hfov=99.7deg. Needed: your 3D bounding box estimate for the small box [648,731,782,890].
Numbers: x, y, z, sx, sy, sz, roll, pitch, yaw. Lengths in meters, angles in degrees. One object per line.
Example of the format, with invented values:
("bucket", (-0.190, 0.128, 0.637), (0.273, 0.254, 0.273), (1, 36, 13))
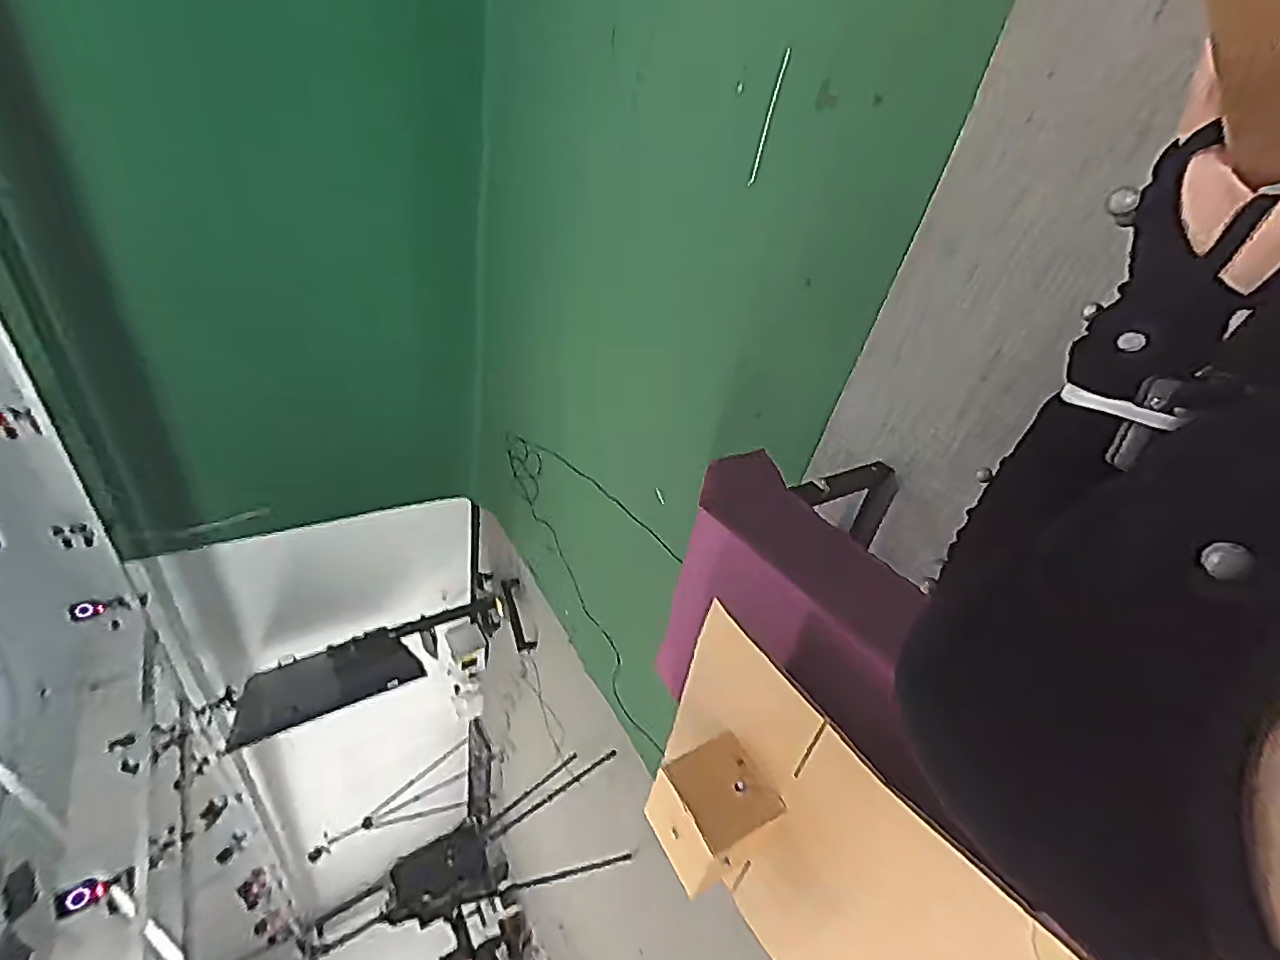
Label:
("small box", (0.140, 0.615, 1.020), (0.168, 0.176, 0.179), (47, 136, 42))
